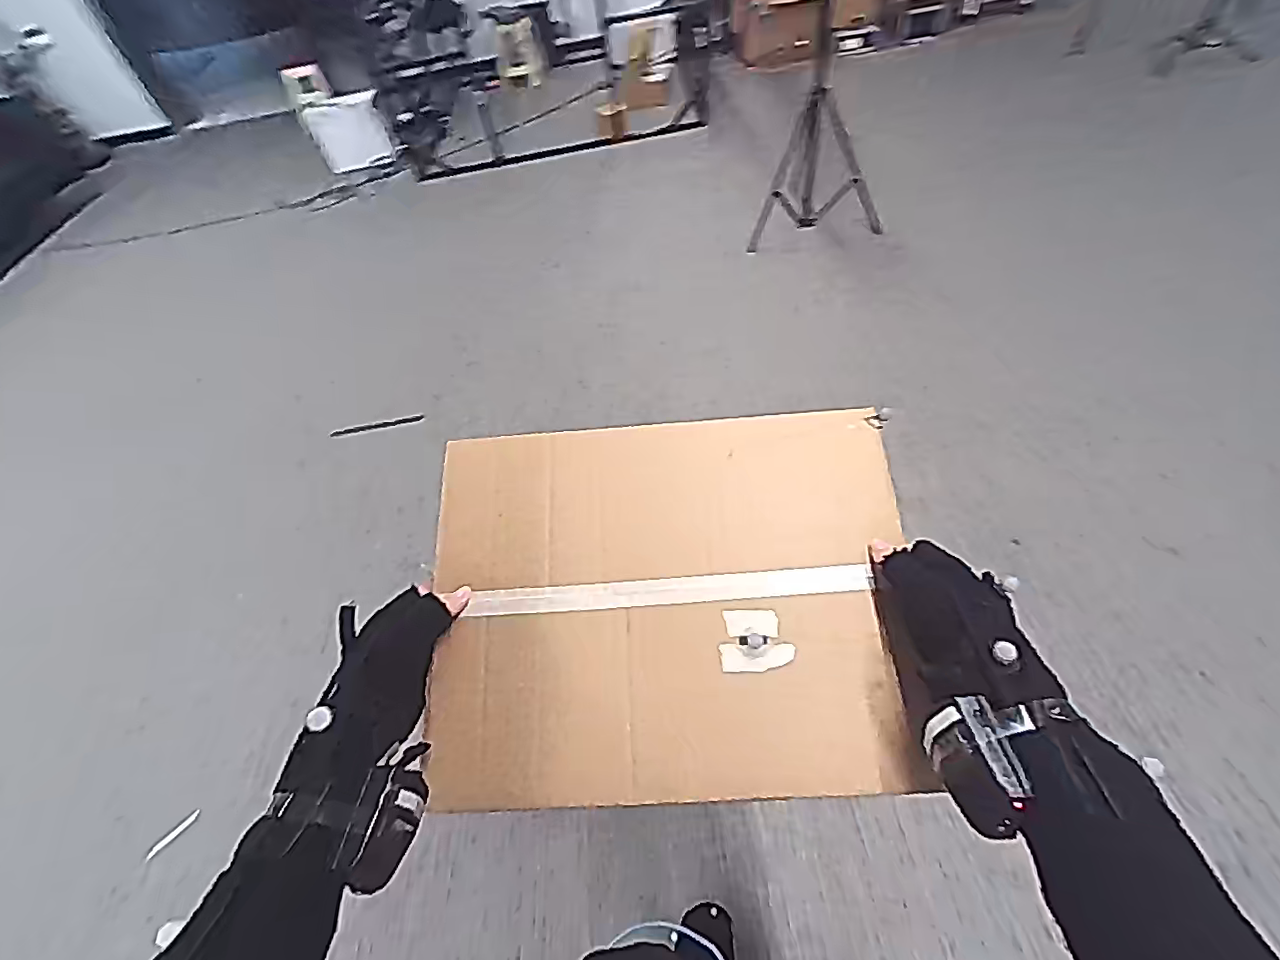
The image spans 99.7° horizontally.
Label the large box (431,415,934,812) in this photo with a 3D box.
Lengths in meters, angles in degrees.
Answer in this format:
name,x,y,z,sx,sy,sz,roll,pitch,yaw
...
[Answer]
name,x,y,z,sx,sy,sz,roll,pitch,yaw
large box,0.026,0.154,0.612,0.408,0.320,0.320,-5,69,1
